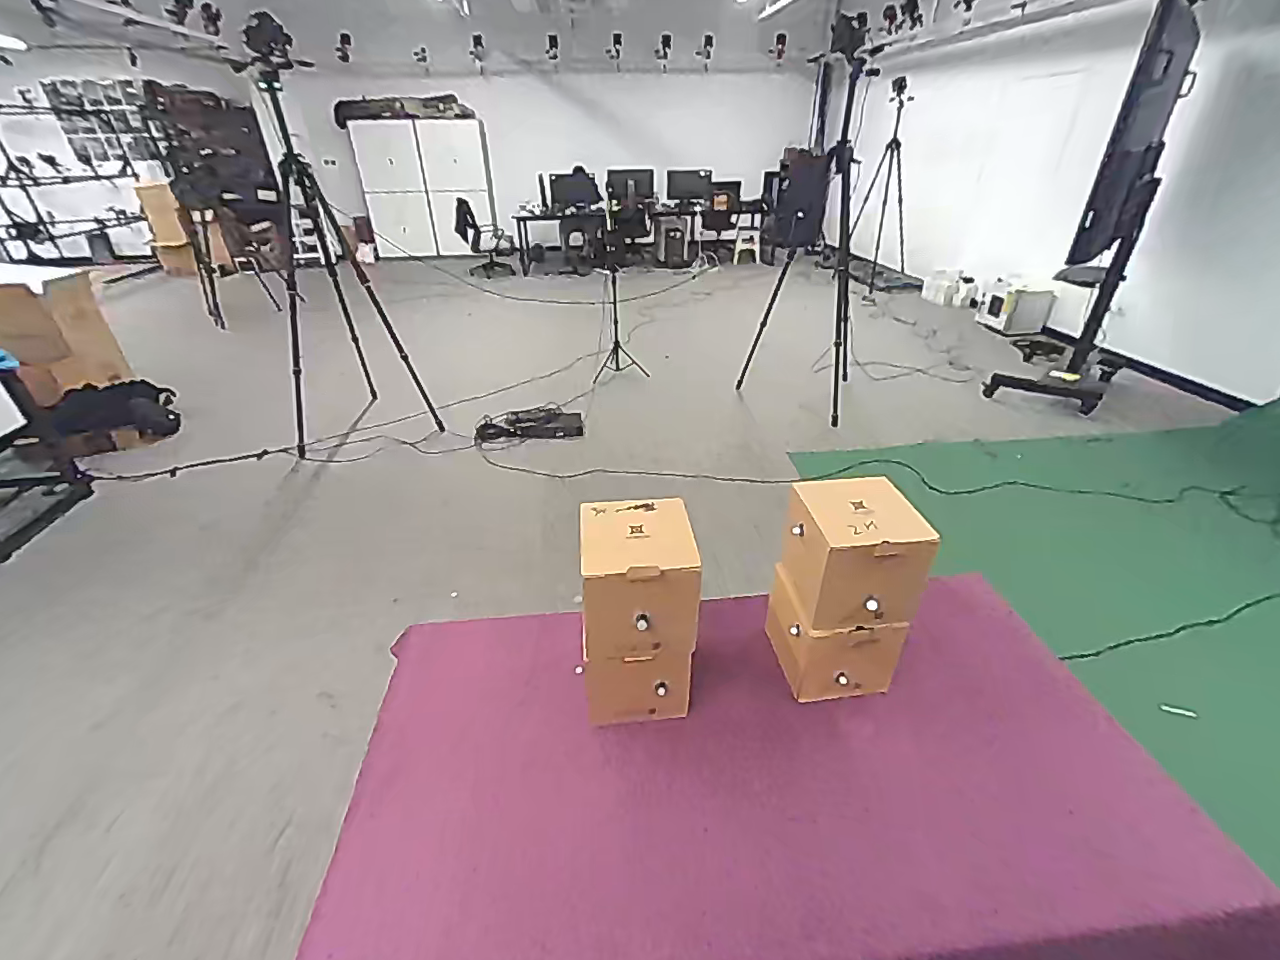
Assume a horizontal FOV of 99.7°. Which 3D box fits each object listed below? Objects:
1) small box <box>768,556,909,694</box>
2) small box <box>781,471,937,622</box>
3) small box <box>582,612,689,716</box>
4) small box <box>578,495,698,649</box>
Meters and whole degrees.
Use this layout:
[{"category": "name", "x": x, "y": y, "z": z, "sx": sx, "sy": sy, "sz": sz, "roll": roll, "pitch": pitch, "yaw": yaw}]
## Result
[{"category": "small box", "x": 0.337, "y": 0.248, "z": 0.961, "sx": 0.168, "sy": 0.176, "sz": 0.179, "roll": -6, "pitch": 33, "yaw": -6}, {"category": "small box", "x": 0.338, "y": 0.104, "z": 0.879, "sx": 0.168, "sy": 0.176, "sz": 0.179, "roll": -5, "pitch": 33, "yaw": -4}, {"category": "small box", "x": -0.010, "y": 0.282, "z": 0.925, "sx": 0.168, "sy": 0.176, "sz": 0.179, "roll": -4, "pitch": 32, "yaw": -5}, {"category": "small box", "x": -0.007, "y": 0.144, "z": 0.835, "sx": 0.168, "sy": 0.176, "sz": 0.179, "roll": -3, "pitch": 33, "yaw": -5}]
